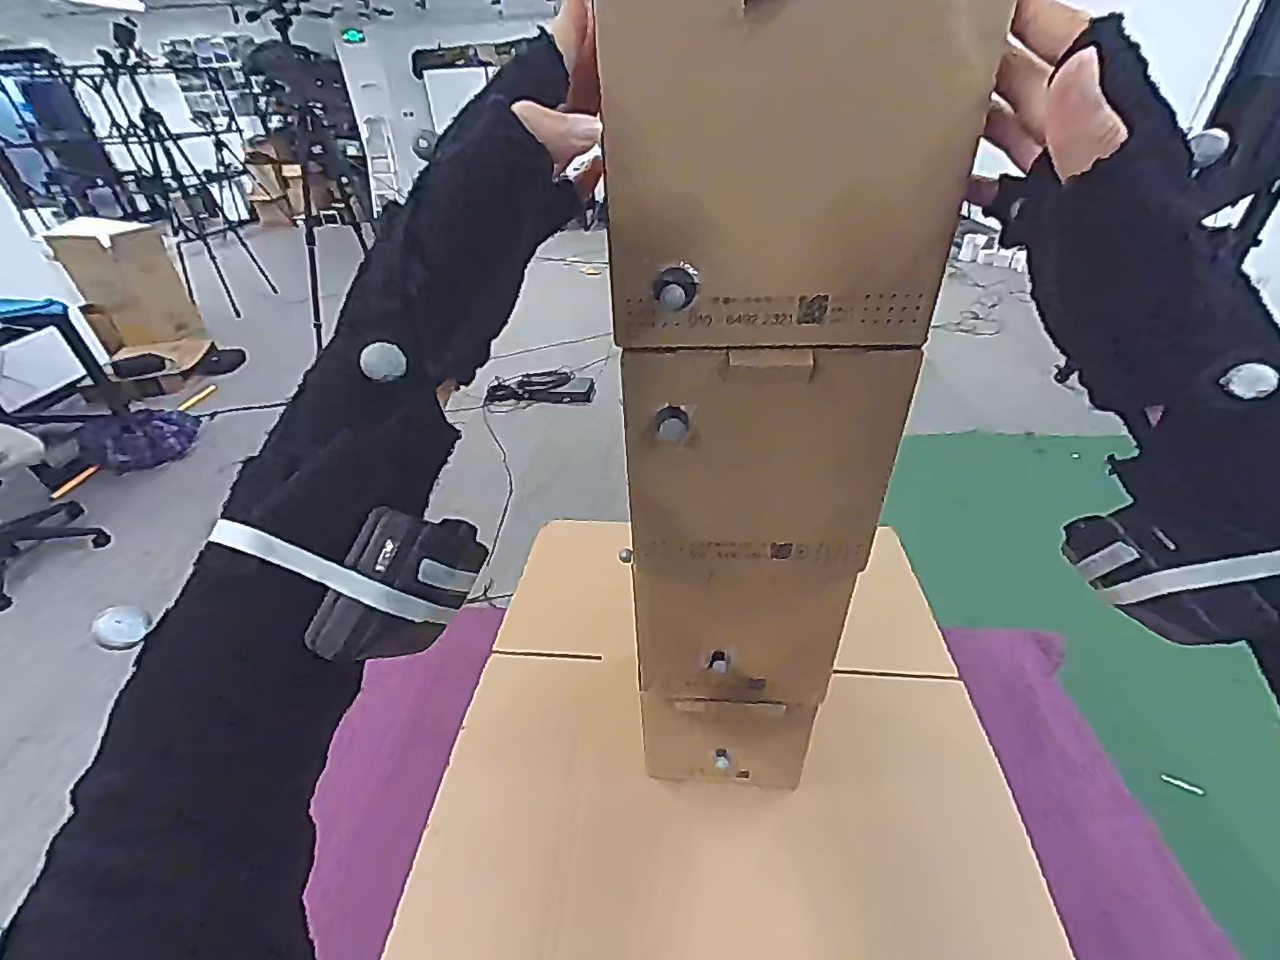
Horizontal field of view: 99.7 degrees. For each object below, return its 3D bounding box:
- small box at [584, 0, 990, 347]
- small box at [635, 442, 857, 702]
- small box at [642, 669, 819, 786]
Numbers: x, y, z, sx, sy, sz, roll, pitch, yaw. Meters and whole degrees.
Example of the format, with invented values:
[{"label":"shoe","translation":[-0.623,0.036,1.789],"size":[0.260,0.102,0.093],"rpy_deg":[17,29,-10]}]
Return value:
[{"label":"small box","translation":[0.069,-0.184,0.314],"size":[0.168,0.176,0.179],"rpy_deg":[1,34,5]},{"label":"small box","translation":[0.085,0.080,0.511],"size":[0.168,0.176,0.179],"rpy_deg":[0,36,5]},{"label":"small box","translation":[0.095,0.209,0.610],"size":[0.168,0.176,0.179],"rpy_deg":[1,35,7]}]
